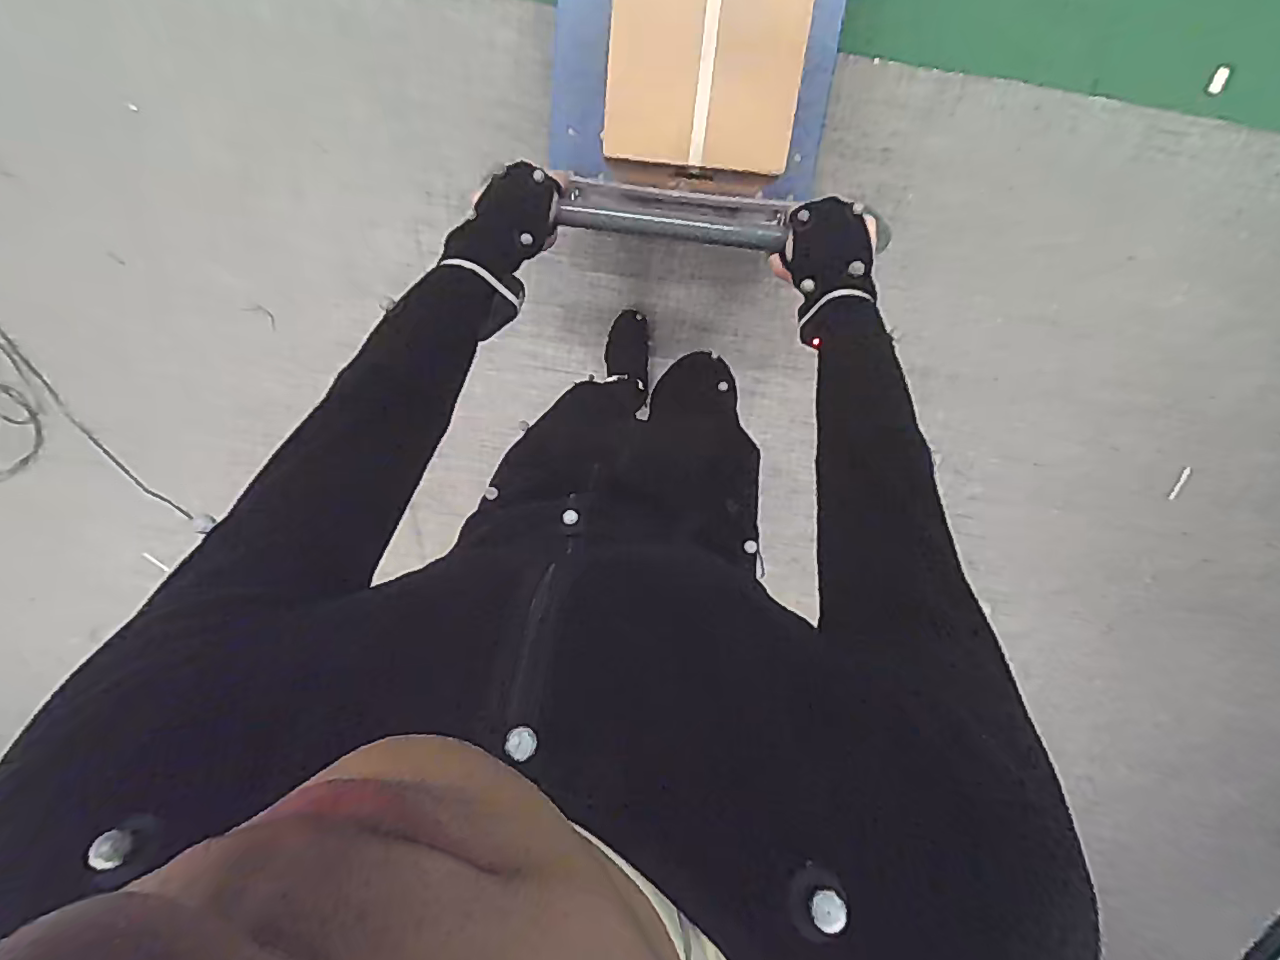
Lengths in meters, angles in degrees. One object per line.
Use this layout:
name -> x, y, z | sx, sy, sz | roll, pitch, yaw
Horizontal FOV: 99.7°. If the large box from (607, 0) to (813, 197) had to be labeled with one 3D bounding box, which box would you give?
large box -> 0.122, -0.774, 0.998 | 0.320, 0.320, 0.408 | 6, 111, 0
